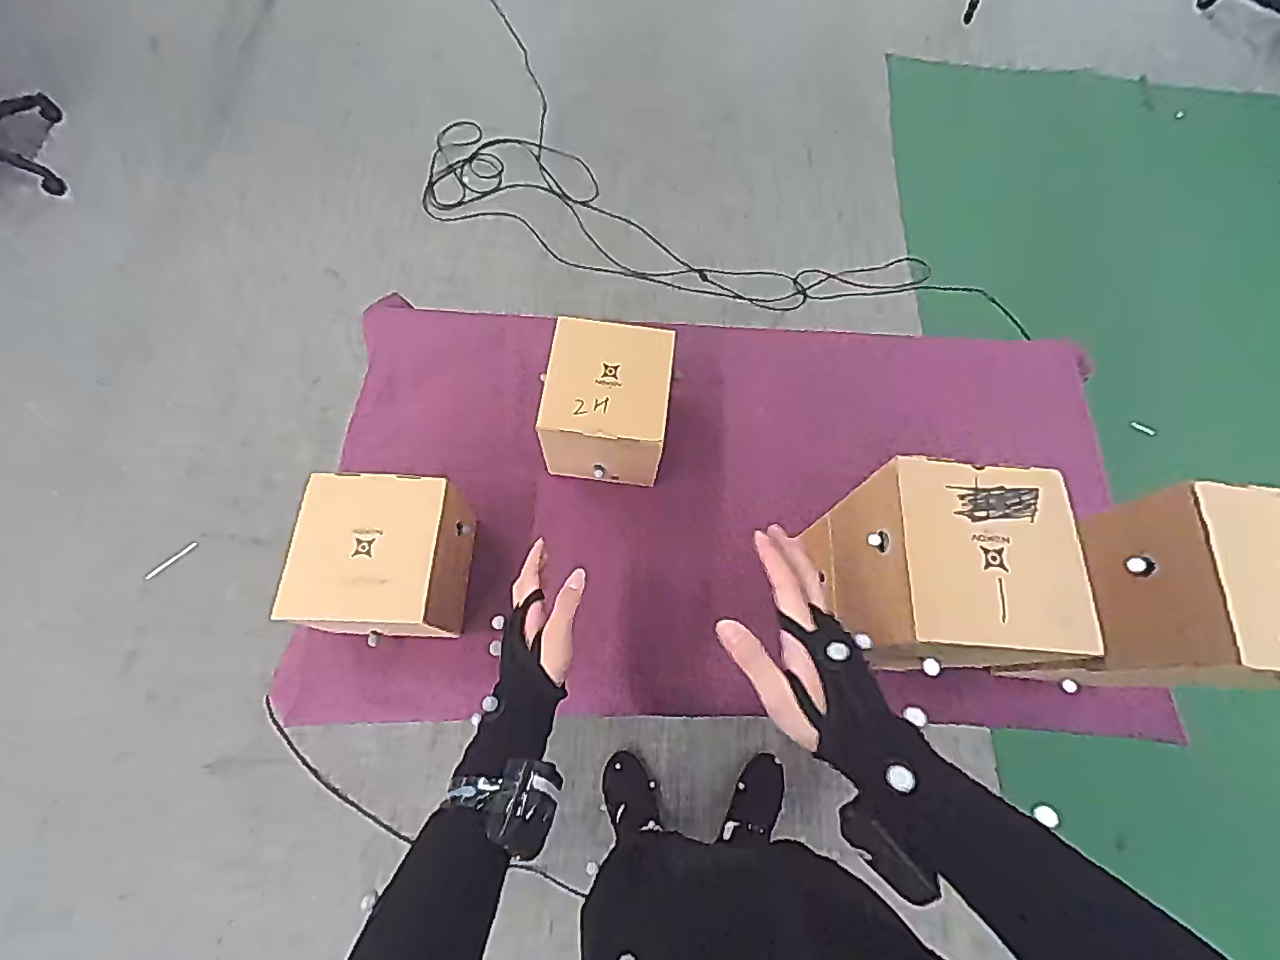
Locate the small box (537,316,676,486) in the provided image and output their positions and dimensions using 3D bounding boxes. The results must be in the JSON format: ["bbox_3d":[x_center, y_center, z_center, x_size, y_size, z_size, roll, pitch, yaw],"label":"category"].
[{"bbox_3d":[-0.046,-0.108,0.793,0.168,0.176,0.179,8,70,0],"label":"small box"}]

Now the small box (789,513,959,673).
[{"bbox_3d":[0.303,0.157,0.714,0.168,0.176,0.179,4,67,-1],"label":"small box"}]

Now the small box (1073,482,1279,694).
[{"bbox_3d":[0.593,0.121,0.565,0.168,0.176,0.179,7,68,1],"label":"small box"}]

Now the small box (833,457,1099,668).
[{"bbox_3d":[0.312,0.095,0.564,0.168,0.176,0.179,5,69,-1],"label":"small box"}]

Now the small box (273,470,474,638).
[{"bbox_3d":[-0.322,0.102,0.698,0.168,0.176,0.179,3,69,-2],"label":"small box"}]
